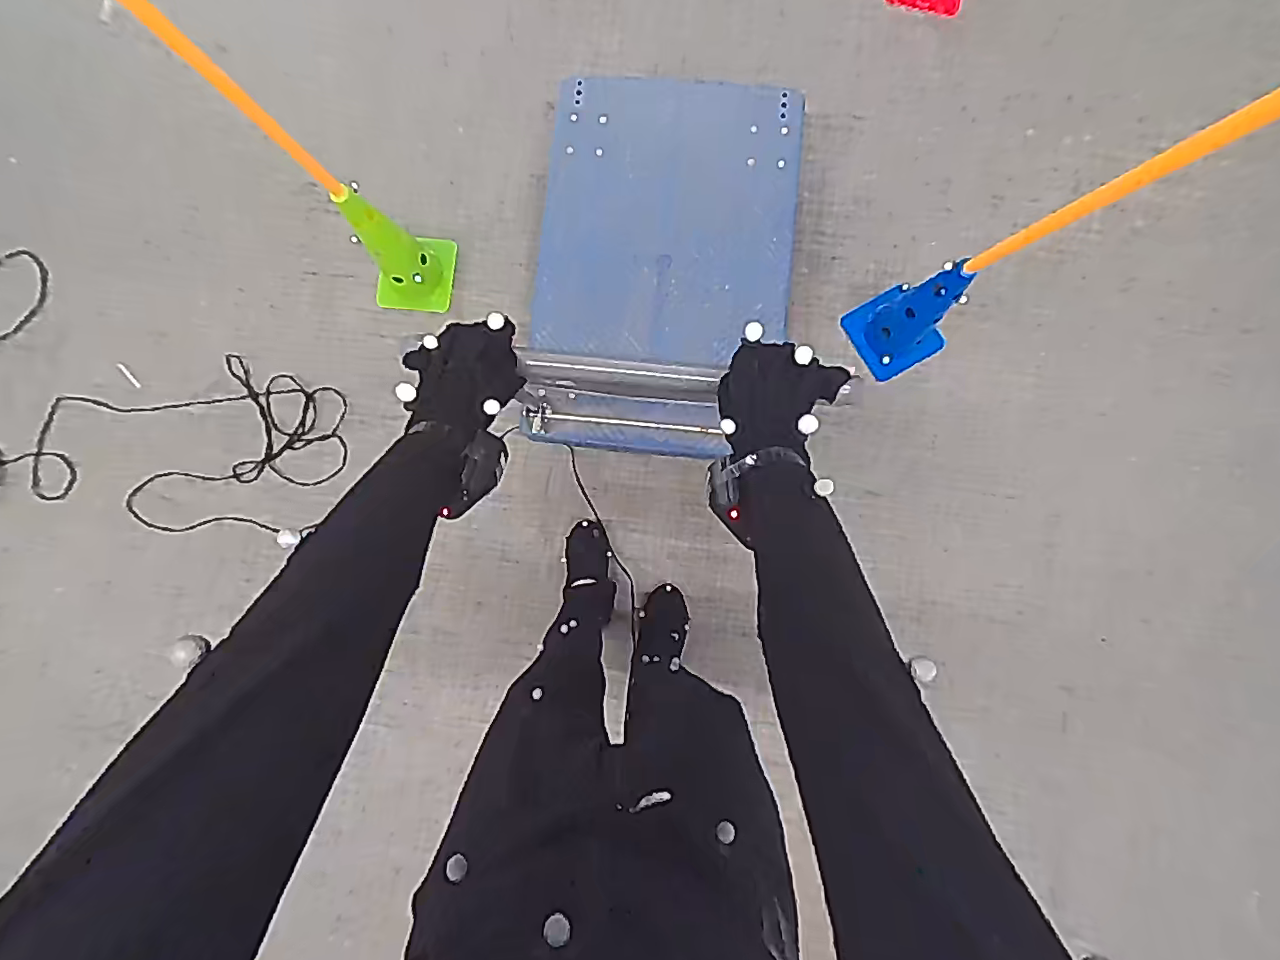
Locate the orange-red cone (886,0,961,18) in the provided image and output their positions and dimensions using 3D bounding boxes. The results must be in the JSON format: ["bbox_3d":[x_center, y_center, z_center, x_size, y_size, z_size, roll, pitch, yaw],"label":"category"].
[{"bbox_3d":[0.762,-1.356,1.279,0.198,0.360,0.199,18,87,5],"label":"orange-red cone"}]
